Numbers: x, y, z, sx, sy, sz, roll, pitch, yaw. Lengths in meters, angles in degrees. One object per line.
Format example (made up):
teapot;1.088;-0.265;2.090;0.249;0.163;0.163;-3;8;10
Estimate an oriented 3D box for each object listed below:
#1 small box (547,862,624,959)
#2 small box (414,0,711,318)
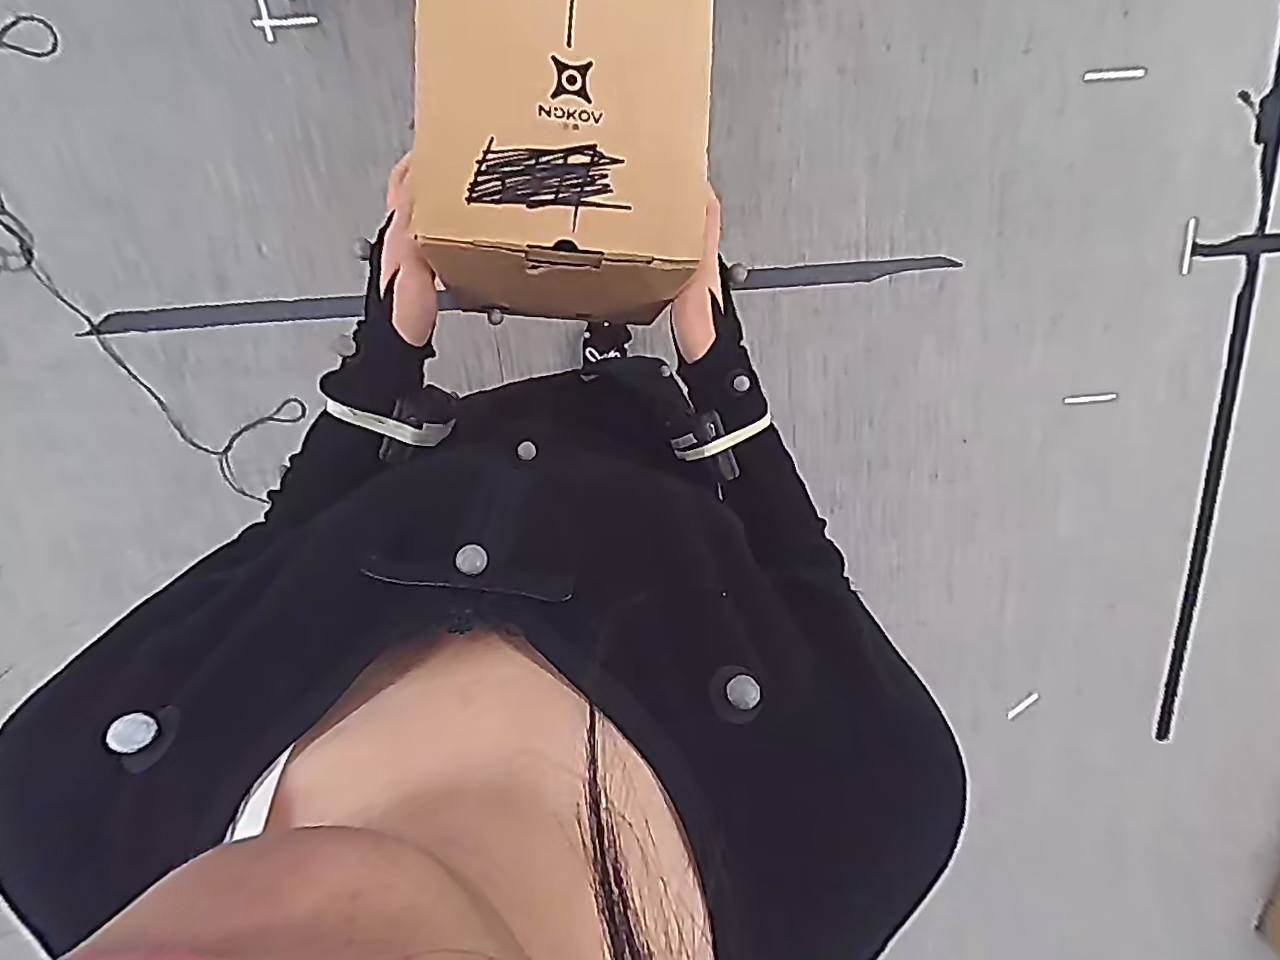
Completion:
small box;-0.139;1.132;1.400;0.179;0.176;0.168;-6;104;-2
small box;-0.054;-0.224;0.386;0.168;0.176;0.179;1;92;-10
